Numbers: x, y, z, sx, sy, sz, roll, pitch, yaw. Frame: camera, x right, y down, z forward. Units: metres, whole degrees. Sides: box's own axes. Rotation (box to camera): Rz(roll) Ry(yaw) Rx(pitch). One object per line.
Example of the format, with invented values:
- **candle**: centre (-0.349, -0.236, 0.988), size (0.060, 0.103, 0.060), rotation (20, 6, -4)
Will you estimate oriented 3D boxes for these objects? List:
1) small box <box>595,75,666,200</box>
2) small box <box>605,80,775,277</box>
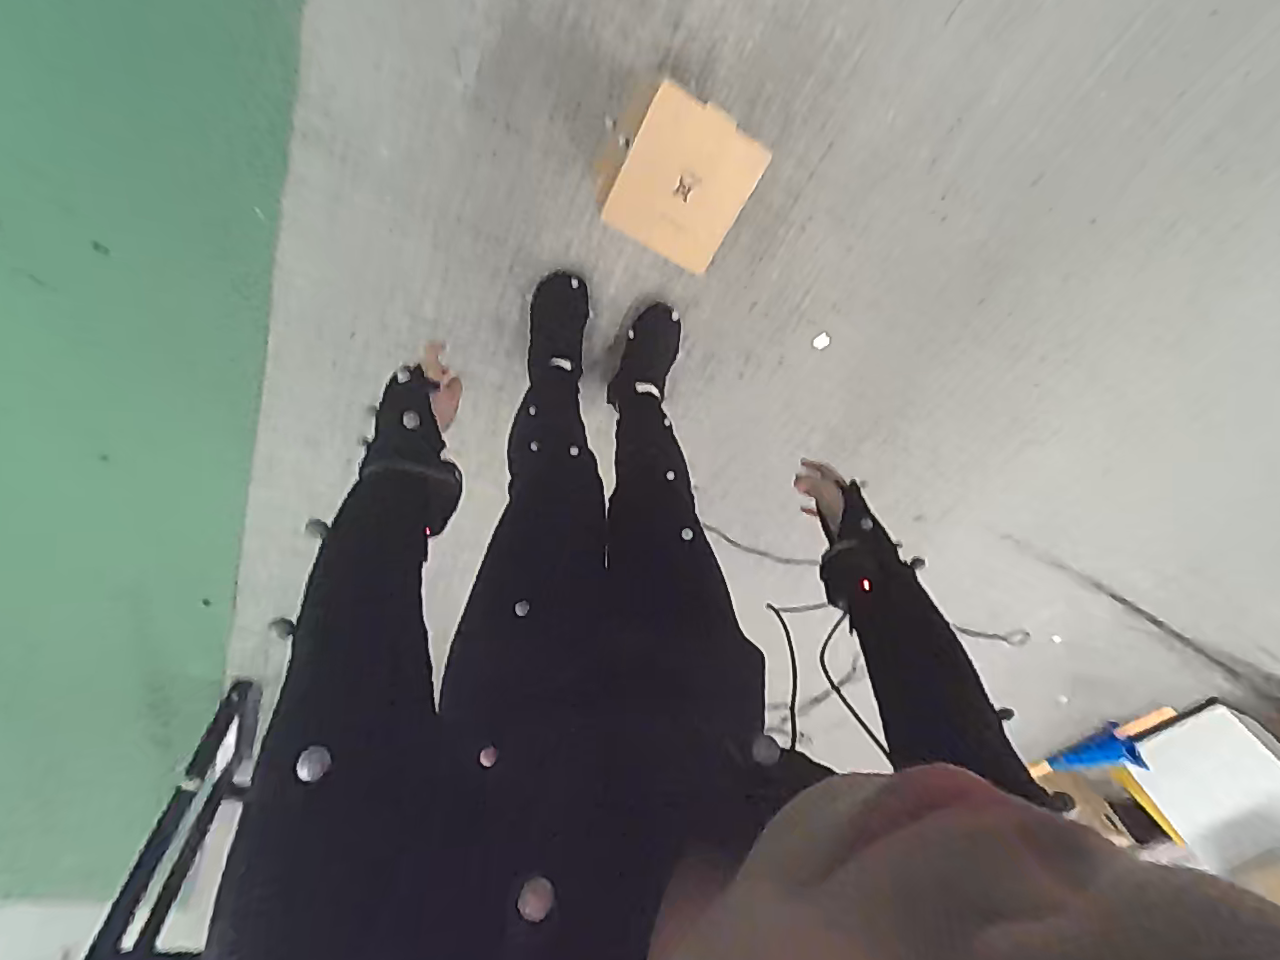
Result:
- **small box**: centre (0.038, -0.523, 0.888), size (0.168, 0.176, 0.179), rotation (23, 122, -22)
- **small box**: centre (0.055, -0.424, 0.759), size (0.168, 0.176, 0.179), rotation (21, 122, -19)
